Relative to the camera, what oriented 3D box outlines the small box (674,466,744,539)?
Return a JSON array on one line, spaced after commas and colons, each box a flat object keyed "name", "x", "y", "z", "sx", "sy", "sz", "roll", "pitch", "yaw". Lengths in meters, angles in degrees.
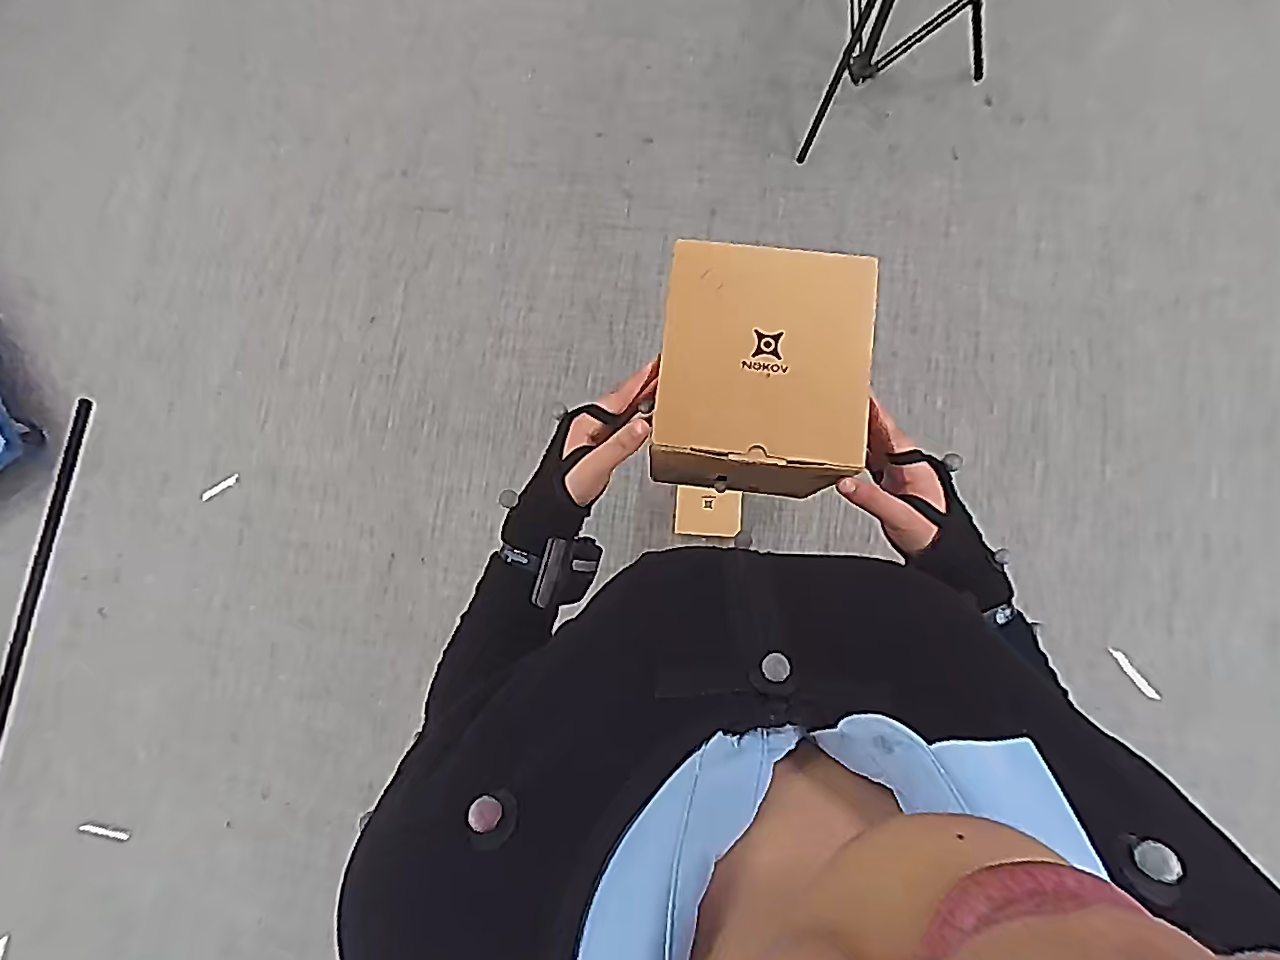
[{"name": "small box", "x": 0.182, "y": 0.064, "z": 1.440, "sx": 0.168, "sy": 0.176, "sz": 0.179, "roll": 4, "pitch": 83, "yaw": 5}]
